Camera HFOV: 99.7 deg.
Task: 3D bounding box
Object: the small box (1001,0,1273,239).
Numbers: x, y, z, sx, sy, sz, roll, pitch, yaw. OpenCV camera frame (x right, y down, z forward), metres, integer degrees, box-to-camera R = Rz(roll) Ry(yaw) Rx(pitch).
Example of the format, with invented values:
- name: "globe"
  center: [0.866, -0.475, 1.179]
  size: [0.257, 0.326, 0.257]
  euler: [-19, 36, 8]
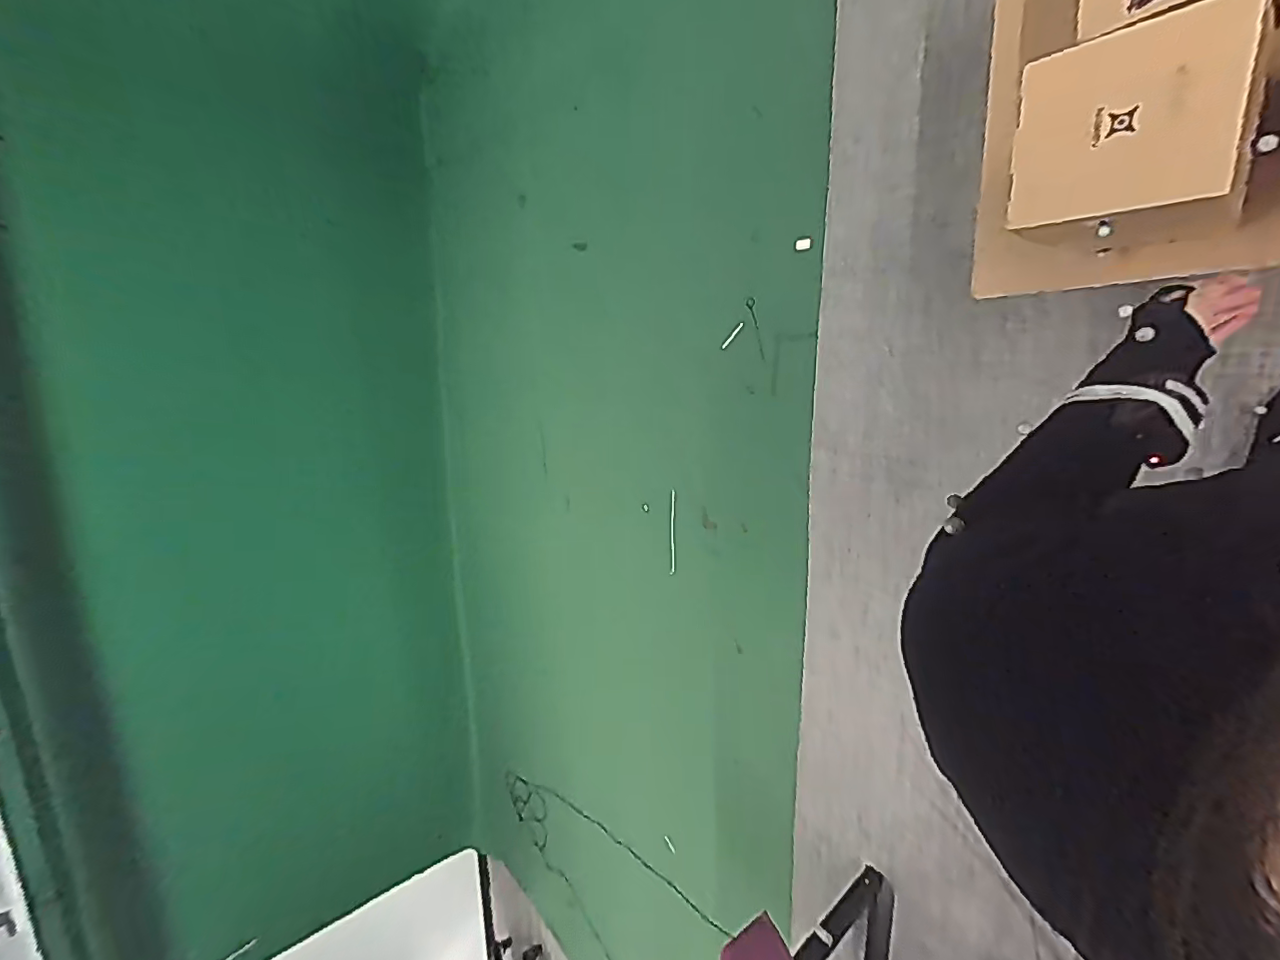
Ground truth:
- name: "small box"
  center: [0.525, -0.365, 0.579]
  size: [0.179, 0.176, 0.168]
  euler: [14, 110, 48]
